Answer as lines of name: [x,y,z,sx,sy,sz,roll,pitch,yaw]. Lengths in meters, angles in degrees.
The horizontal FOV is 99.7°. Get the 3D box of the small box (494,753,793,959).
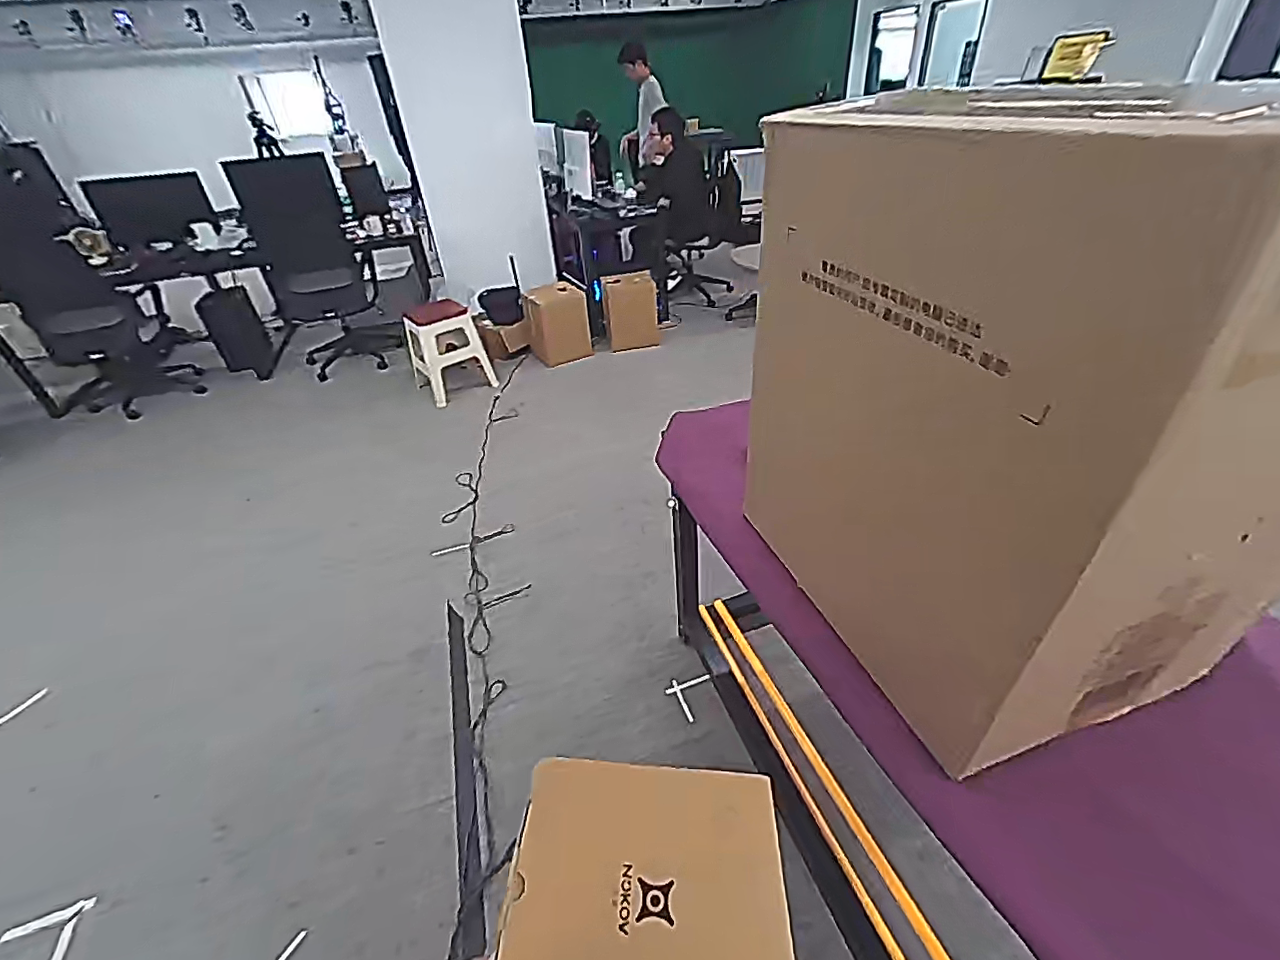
small box: [0.000,0.323,0.383,0.179,0.176,0.168,4,35,1]
